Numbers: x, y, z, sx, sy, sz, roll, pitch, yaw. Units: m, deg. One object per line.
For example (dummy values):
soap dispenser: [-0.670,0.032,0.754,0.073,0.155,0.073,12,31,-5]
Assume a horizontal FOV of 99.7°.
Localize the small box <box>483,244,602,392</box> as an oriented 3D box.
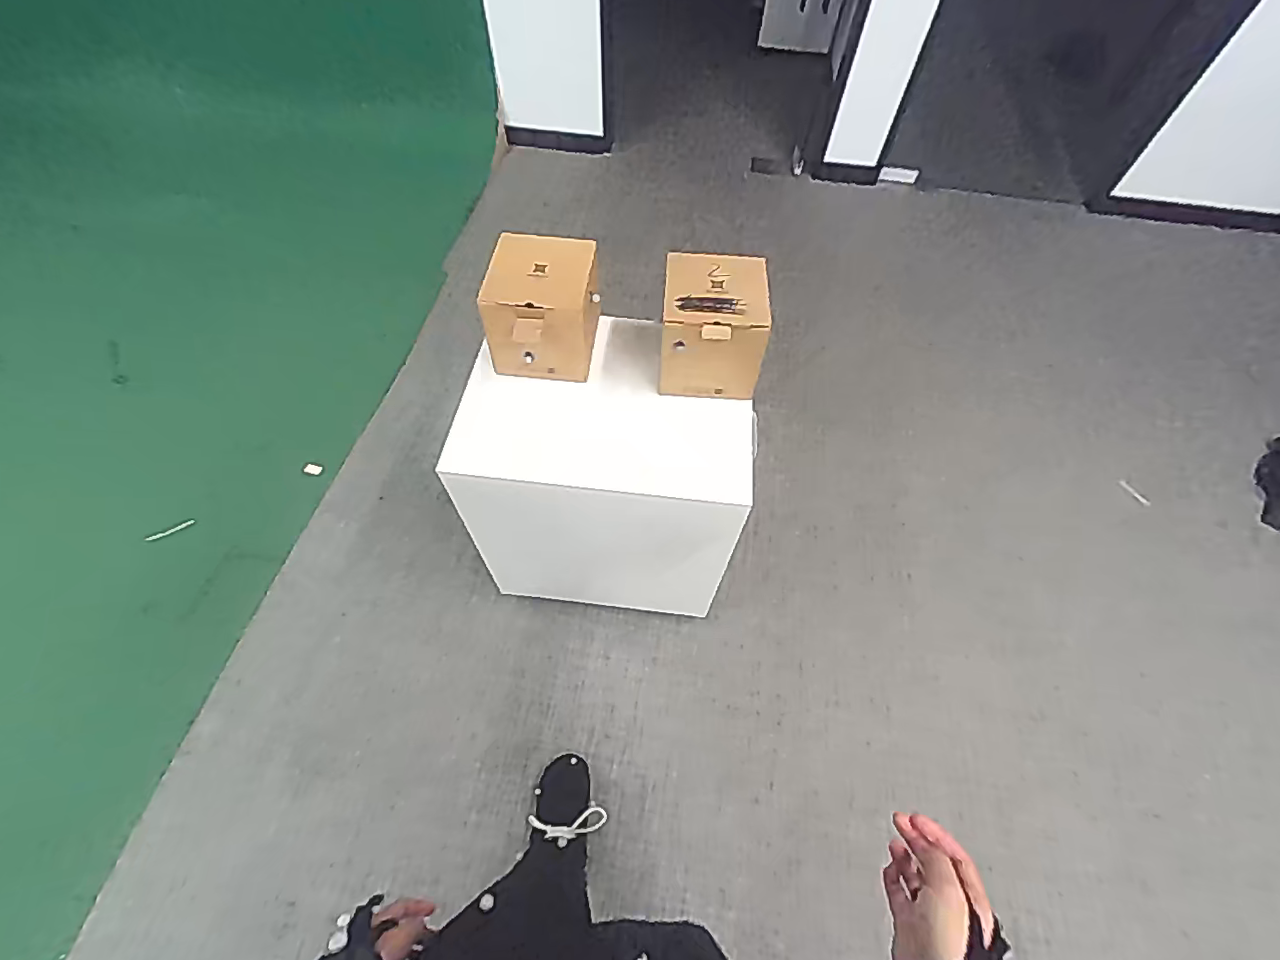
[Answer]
small box: [-0.160,-0.282,0.951,0.168,0.176,0.179,6,59,1]
